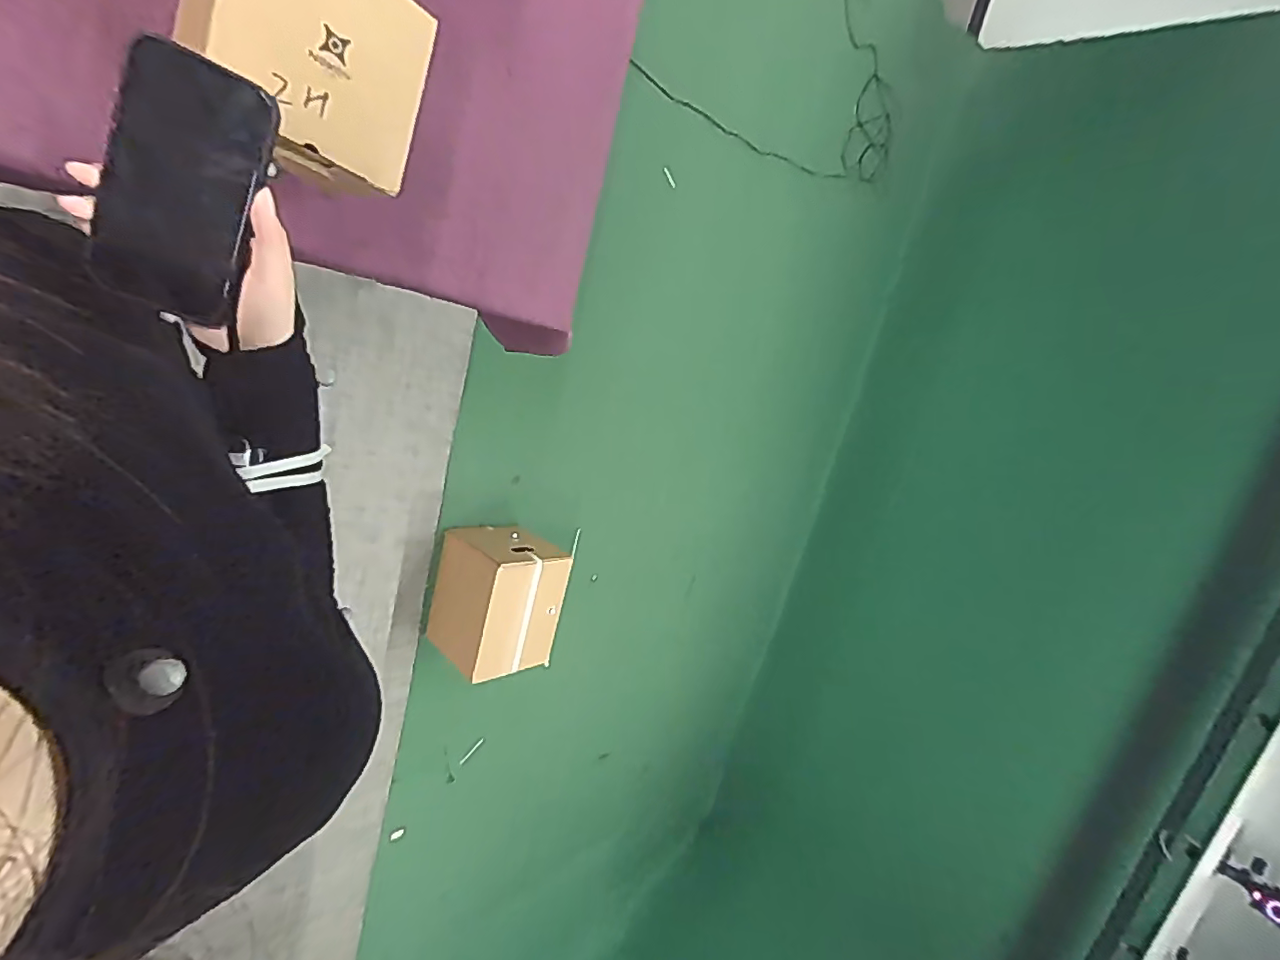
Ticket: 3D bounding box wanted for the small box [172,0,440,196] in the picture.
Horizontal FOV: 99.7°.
[{"bbox_3d":[-0.330,-0.406,0.531,0.168,0.176,0.179,8,103,-51],"label":"small box"}]
